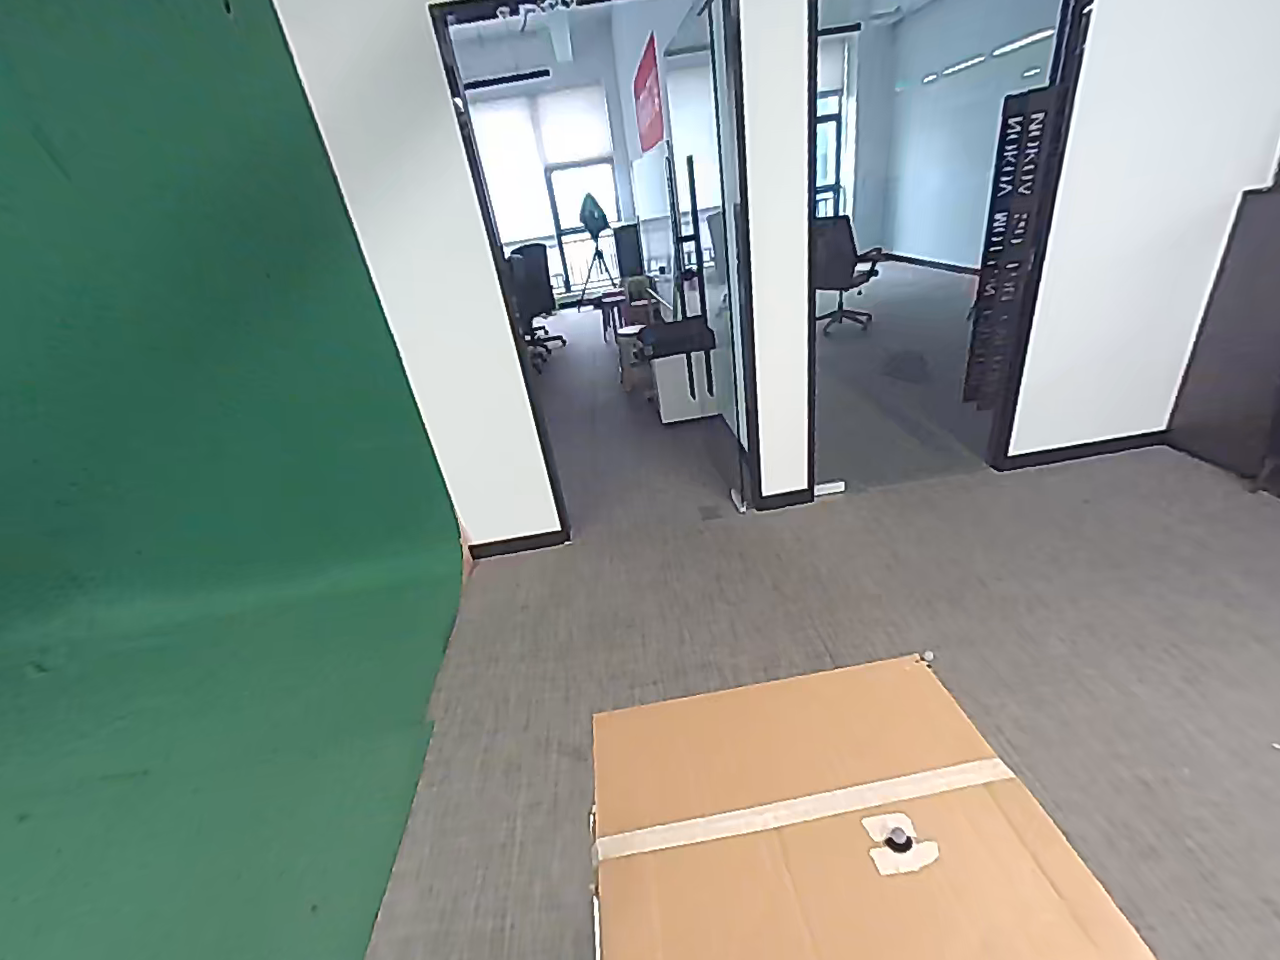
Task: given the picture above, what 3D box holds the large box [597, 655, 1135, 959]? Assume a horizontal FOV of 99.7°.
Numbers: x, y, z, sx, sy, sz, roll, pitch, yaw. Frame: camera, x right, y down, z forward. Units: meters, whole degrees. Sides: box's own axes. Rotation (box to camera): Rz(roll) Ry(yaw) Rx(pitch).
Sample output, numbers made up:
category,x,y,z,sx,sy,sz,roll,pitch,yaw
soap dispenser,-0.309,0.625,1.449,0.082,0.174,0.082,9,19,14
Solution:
category,x,y,z,sx,sy,sz,roll,pitch,yaw
large box,0.178,0.447,0.592,0.408,0.320,0.320,-9,28,-3
